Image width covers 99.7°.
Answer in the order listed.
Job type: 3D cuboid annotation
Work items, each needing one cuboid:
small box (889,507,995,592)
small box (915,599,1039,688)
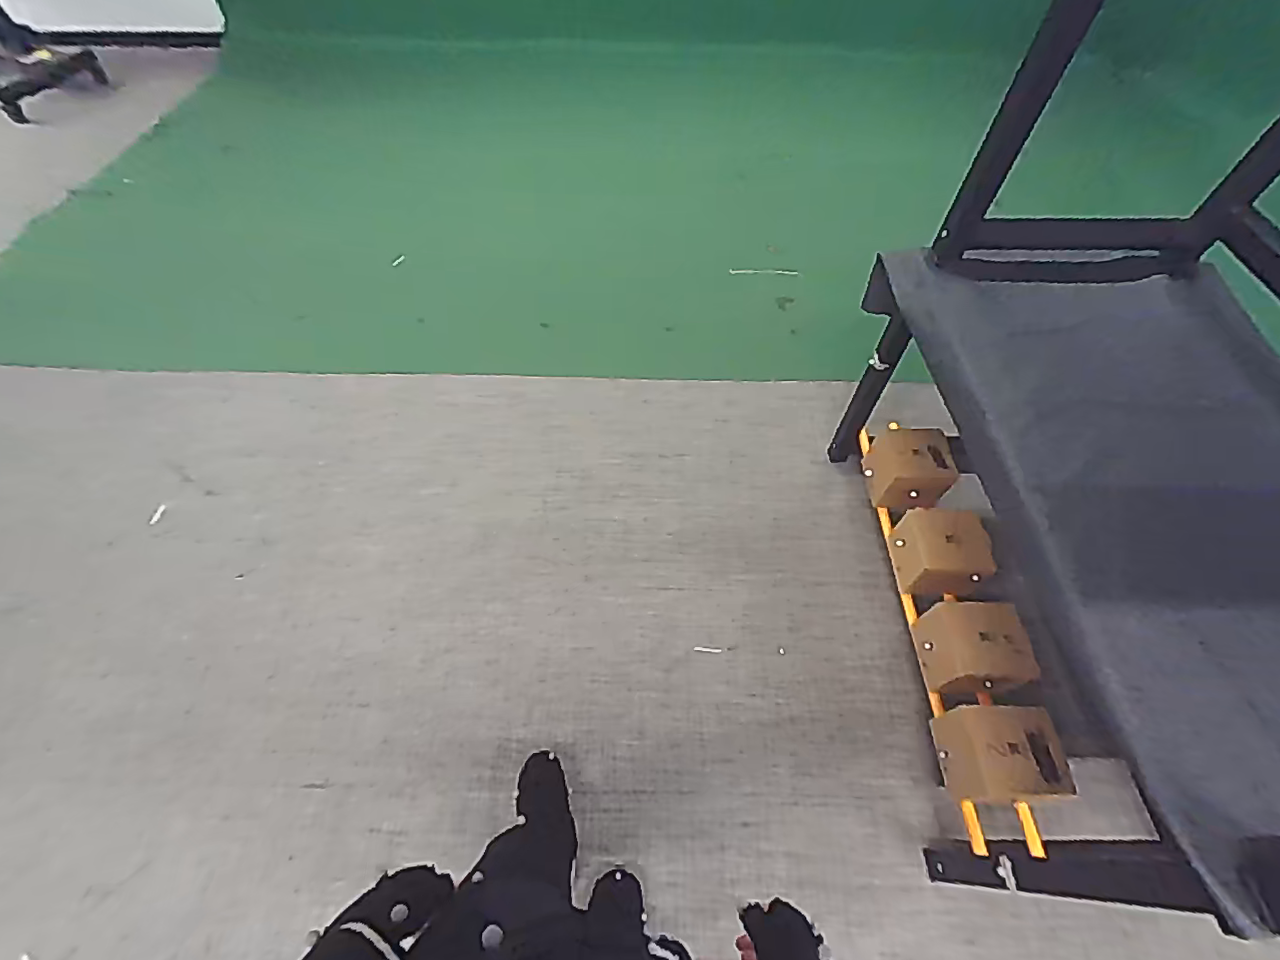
[{"bbox_3d":[0.770,0.183,1.406,0.179,0.176,0.168,1,57,1],"label":"small box"},{"bbox_3d":[0.773,0.387,1.269,0.179,0.176,0.168,0,58,0],"label":"small box"}]
